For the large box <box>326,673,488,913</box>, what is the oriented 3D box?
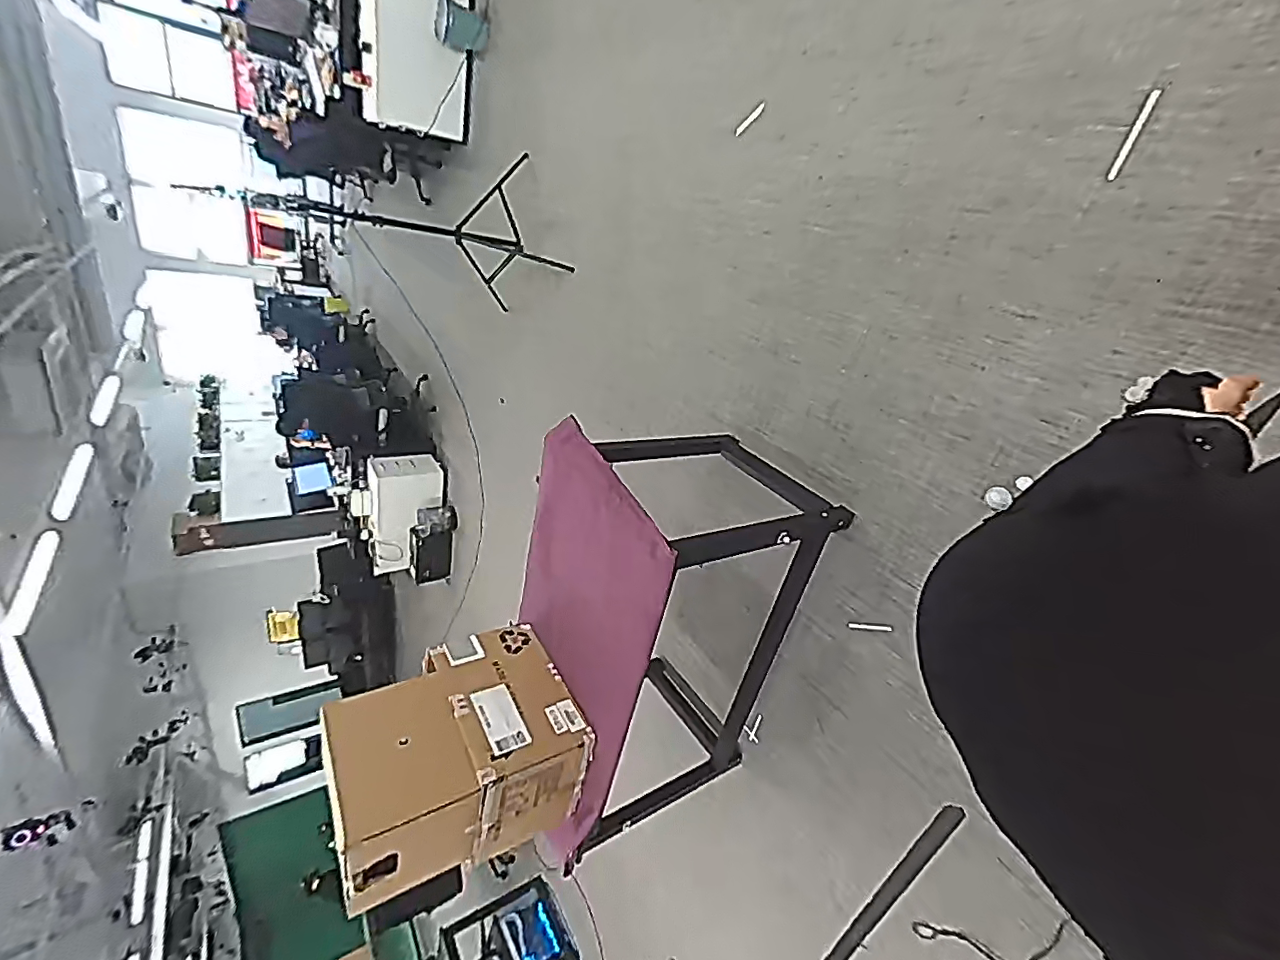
[{"bbox_3d":[-0.635,0.806,1.457,0.408,0.320,0.320,41,129,44],"label":"large box"}]
